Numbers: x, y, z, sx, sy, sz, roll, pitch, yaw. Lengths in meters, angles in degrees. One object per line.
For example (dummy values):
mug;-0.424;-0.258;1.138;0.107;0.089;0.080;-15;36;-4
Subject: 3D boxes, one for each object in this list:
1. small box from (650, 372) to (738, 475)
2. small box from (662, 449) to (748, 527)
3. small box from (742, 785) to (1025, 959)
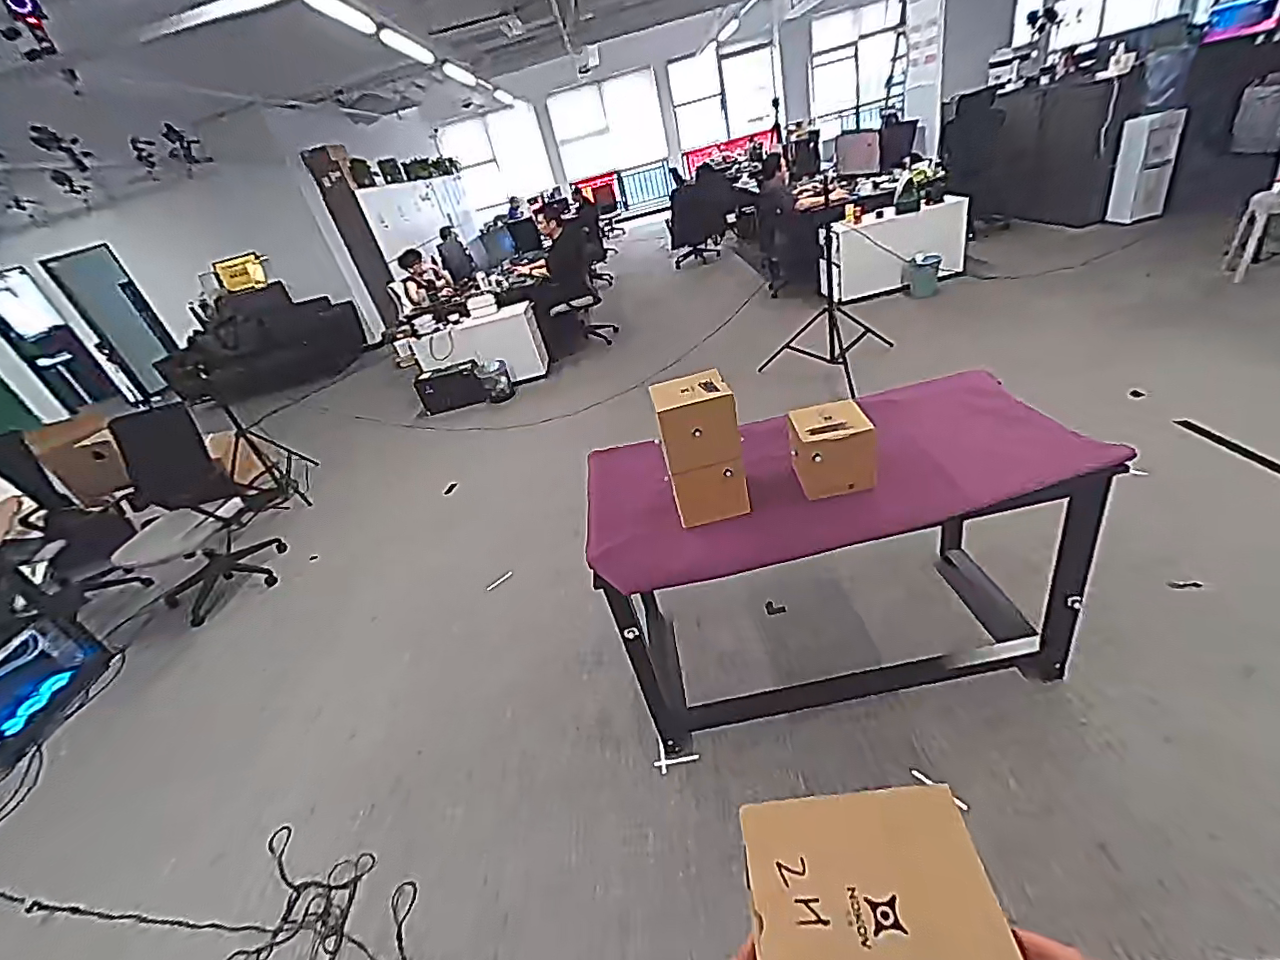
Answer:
small box;0.131;-0.135;1.295;0.179;0.176;0.168;-14;30;2
small box;0.166;-0.001;1.383;0.179;0.176;0.168;-14;31;1
small box;0.188;0.376;0.440;0.179;0.176;0.168;-11;36;9
